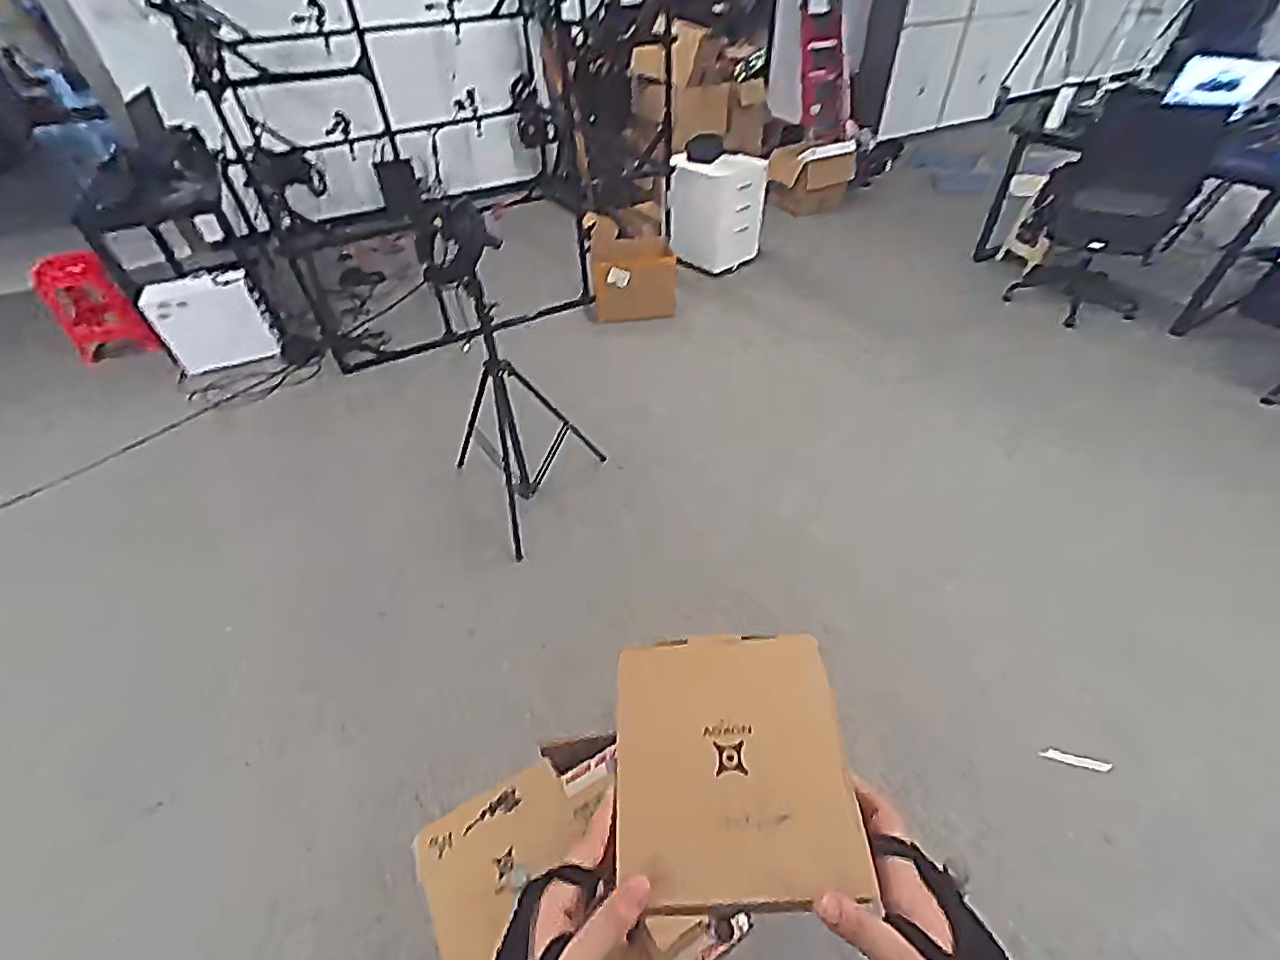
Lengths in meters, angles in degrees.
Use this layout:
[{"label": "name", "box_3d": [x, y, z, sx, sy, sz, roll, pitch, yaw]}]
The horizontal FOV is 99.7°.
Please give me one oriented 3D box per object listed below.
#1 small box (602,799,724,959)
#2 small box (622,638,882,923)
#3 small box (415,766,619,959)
[{"label": "small box", "box_3d": [0.055, 0.550, 0.785, 0.168, 0.176, 0.179, -22, 48, -21]}, {"label": "small box", "box_3d": [0.075, 0.253, 0.453, 0.168, 0.176, 0.179, -5, 49, 4]}, {"label": "small box", "box_3d": [-0.134, 0.479, 0.630, 0.168, 0.176, 0.179, -24, 50, -19]}]
